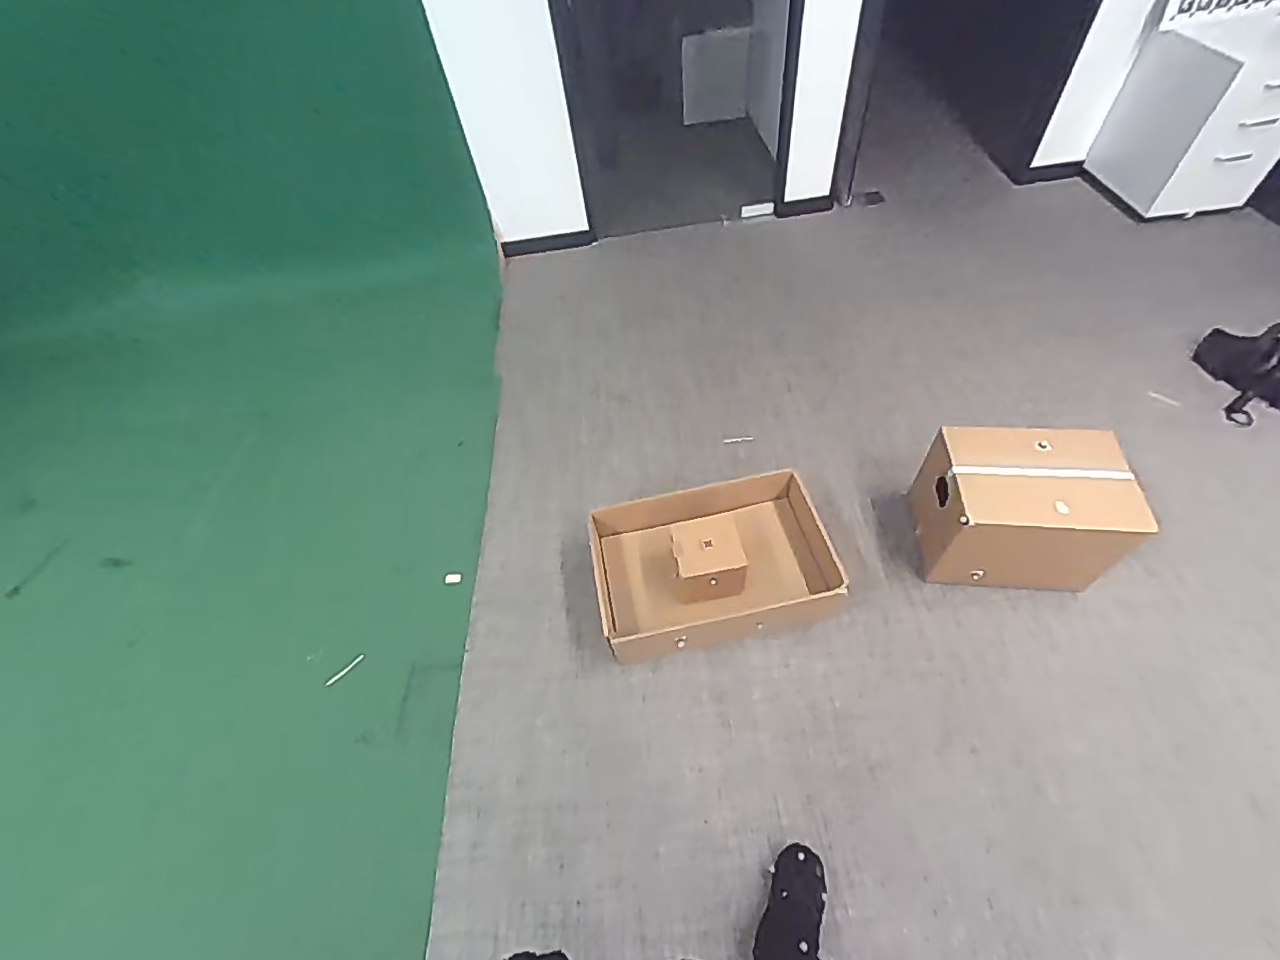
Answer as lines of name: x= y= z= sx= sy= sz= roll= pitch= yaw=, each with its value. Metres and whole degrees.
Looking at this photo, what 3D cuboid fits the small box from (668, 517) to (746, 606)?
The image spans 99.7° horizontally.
small box: x=0.181 y=0.228 z=1.479 sx=0.179 sy=0.176 sz=0.168 roll=-10 pitch=53 yaw=-3
